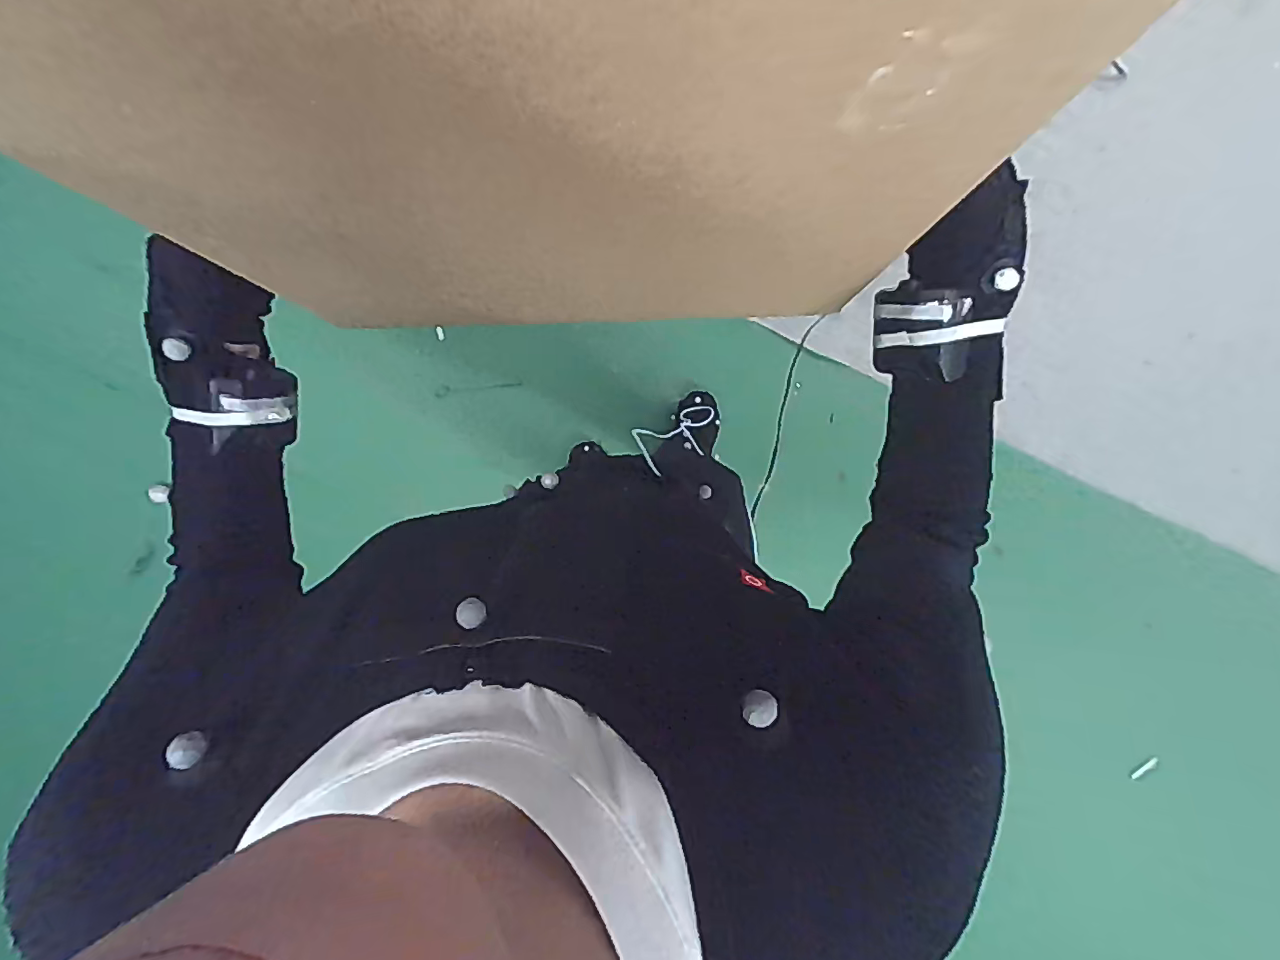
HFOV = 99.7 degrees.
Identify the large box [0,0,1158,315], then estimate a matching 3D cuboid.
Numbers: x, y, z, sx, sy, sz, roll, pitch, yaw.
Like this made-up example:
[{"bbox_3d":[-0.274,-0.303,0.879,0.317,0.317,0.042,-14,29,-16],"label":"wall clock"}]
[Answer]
[{"bbox_3d":[-0.037,-0.291,0.287,0.408,0.320,0.320,-1,90,-1],"label":"large box"}]
